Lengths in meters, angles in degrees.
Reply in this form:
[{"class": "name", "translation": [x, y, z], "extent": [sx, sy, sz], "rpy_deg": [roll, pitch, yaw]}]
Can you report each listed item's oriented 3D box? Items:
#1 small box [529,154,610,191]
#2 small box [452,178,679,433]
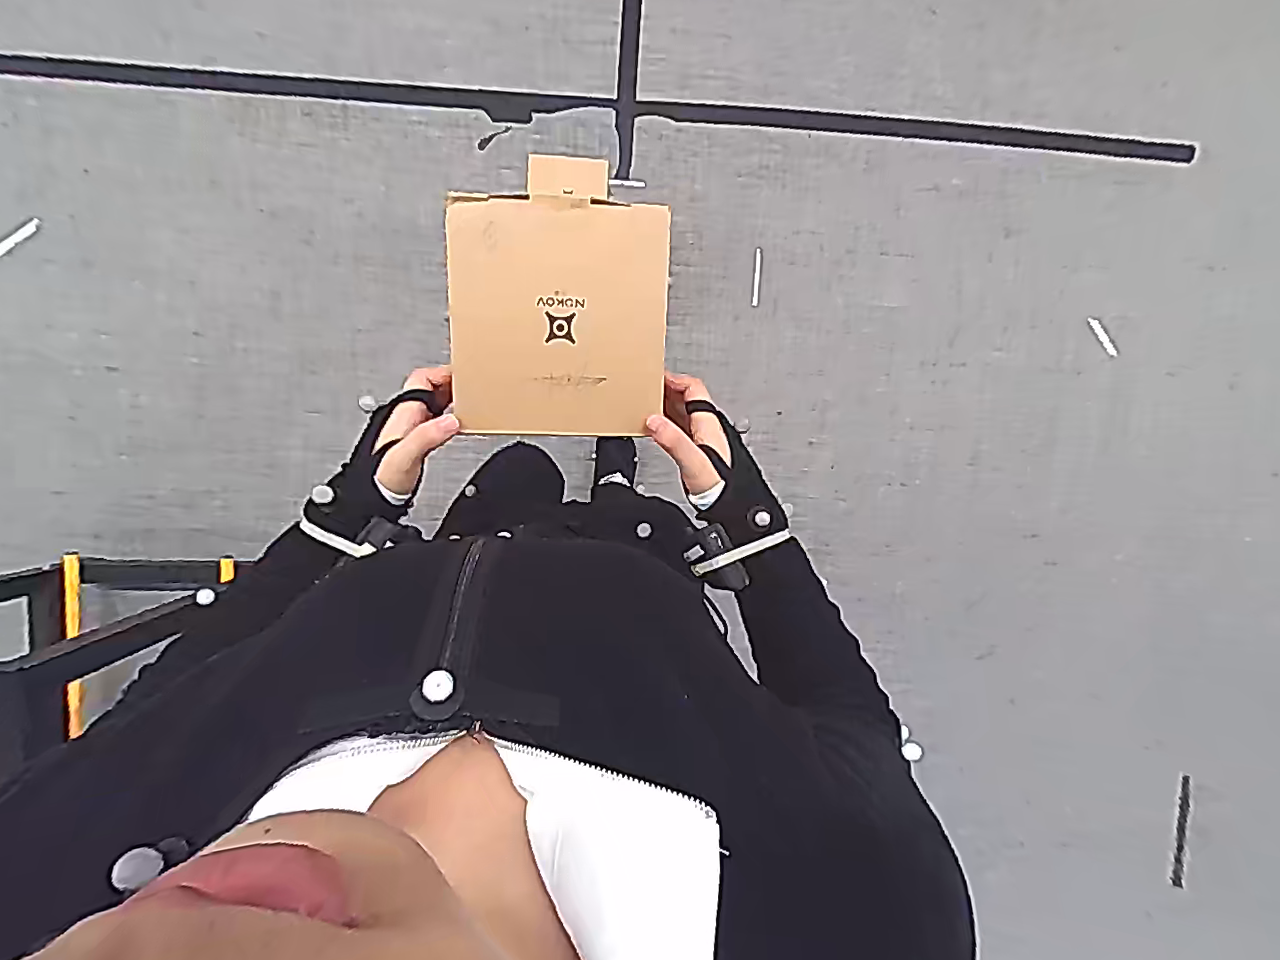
[{"class": "small box", "translation": [-0.153, -0.575, 1.184], "extent": [0.168, 0.176, 0.179], "rpy_deg": [3, 94, -4]}, {"class": "small box", "translation": [-0.065, -0.141, 0.481], "extent": [0.168, 0.176, 0.179], "rpy_deg": [1, 103, -6]}]
